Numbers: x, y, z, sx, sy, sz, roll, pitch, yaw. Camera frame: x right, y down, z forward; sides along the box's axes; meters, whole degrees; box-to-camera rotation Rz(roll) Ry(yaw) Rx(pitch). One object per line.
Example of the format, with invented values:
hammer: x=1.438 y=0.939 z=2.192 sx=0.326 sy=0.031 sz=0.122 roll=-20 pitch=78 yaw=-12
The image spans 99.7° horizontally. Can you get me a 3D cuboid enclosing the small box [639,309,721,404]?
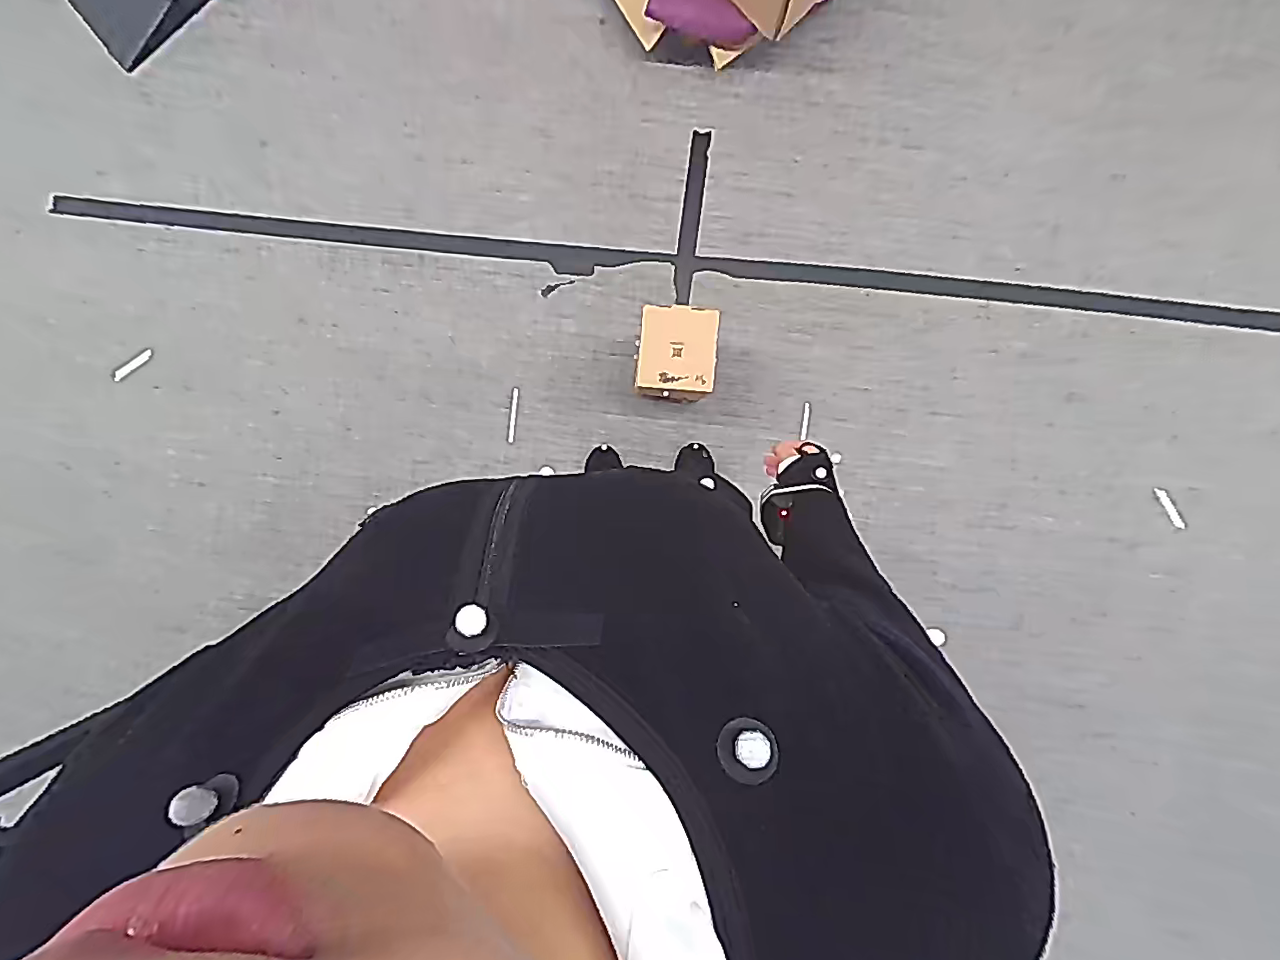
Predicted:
small box: x=0.085 y=-0.275 z=1.234 sx=0.168 sy=0.176 sz=0.179 roll=5 pitch=92 yaw=1
